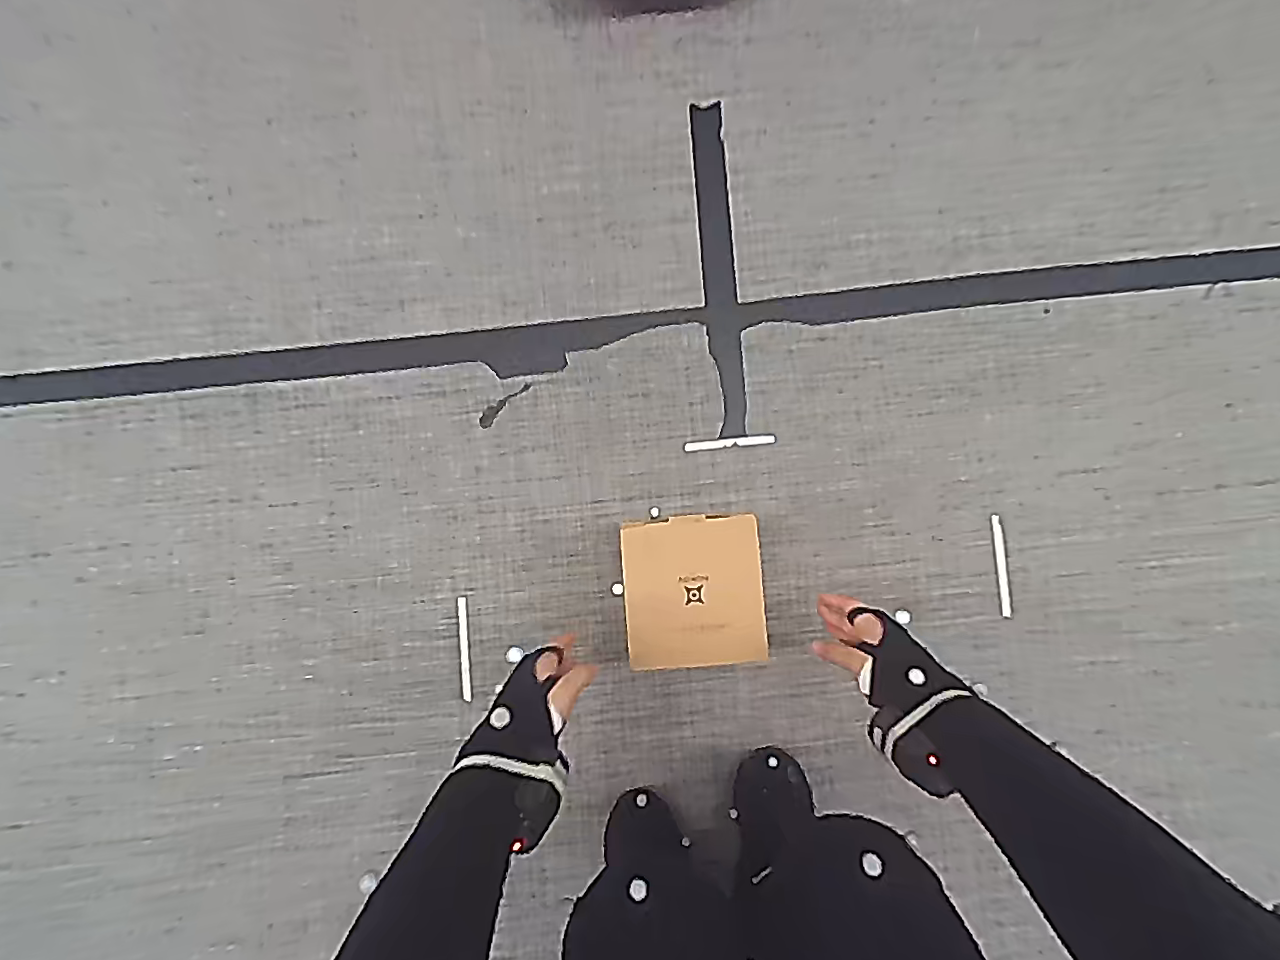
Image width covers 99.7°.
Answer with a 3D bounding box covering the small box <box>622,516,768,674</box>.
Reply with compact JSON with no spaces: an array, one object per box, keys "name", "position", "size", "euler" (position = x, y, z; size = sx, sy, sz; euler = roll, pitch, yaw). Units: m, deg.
[{"name":"small box","position":[0.063,0.141,0.718],"size":[0.168,0.176,0.179],"euler":[-5,87,0]}]
